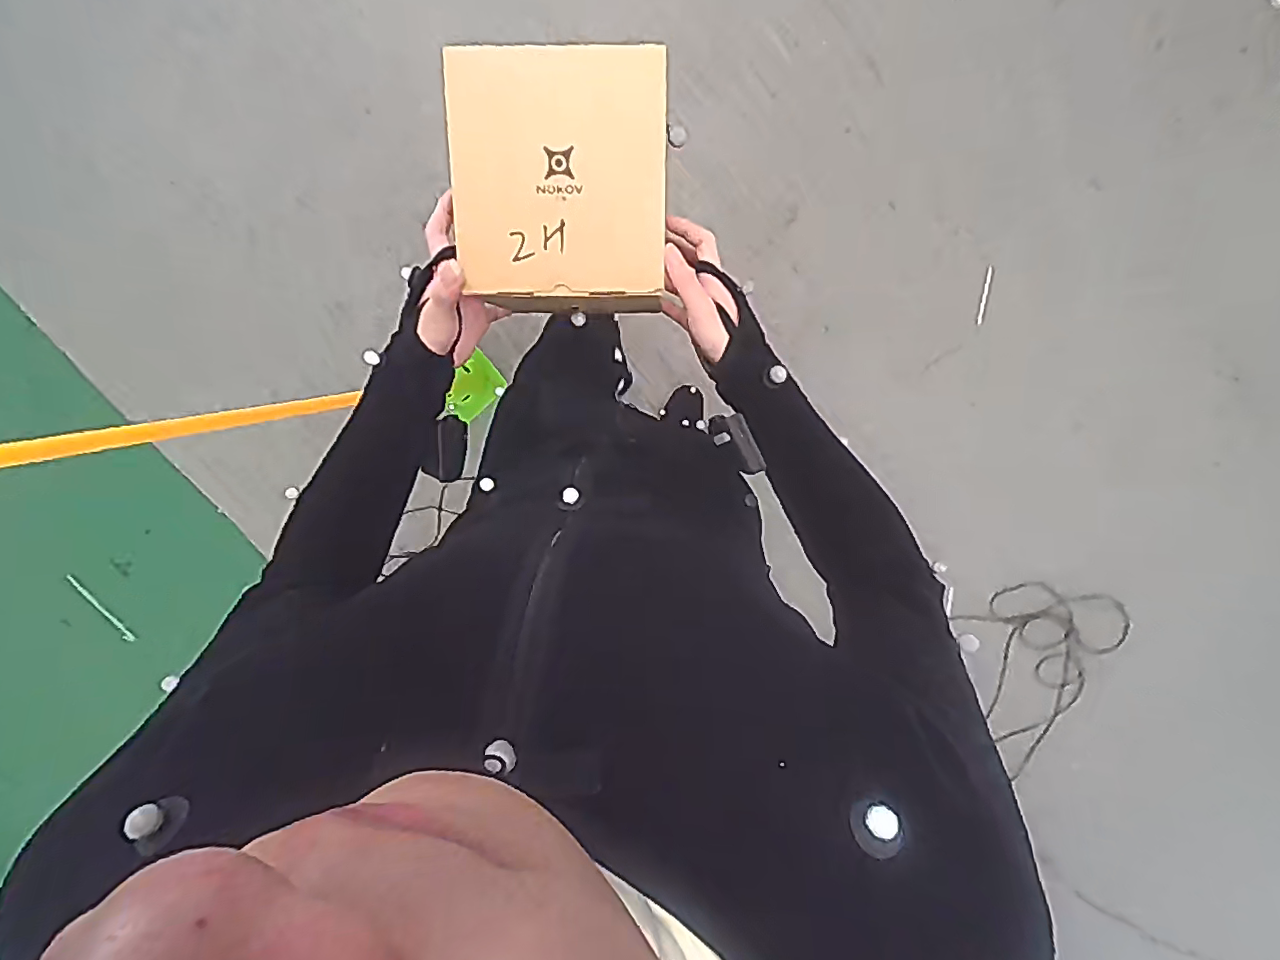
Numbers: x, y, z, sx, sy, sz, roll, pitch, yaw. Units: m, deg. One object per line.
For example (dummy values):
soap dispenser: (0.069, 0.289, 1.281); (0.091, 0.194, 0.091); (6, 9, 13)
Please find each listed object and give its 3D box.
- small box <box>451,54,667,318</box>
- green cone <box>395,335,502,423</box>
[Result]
small box: (-0.063, -0.250, 0.502); (0.168, 0.176, 0.179); (1, 102, 1)
green cone: (-0.550, -0.252, 1.438); (0.200, 0.368, 0.202); (-38, 99, 13)
